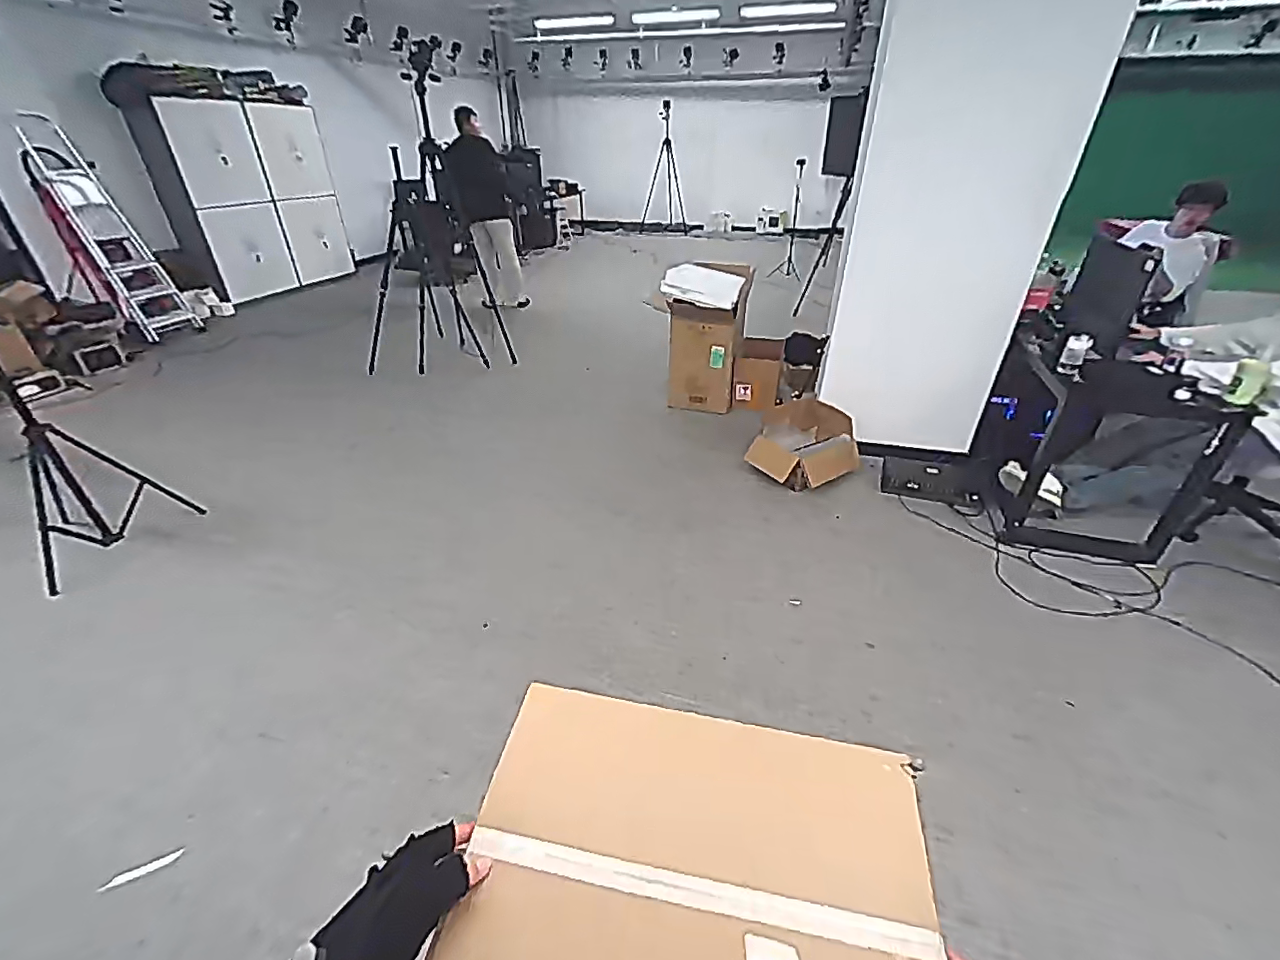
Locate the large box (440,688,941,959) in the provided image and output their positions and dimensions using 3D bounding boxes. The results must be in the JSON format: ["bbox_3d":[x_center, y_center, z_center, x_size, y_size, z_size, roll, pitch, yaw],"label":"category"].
[{"bbox_3d":[0.045,0.467,0.563,0.408,0.320,0.320,8,41,8],"label":"large box"}]
